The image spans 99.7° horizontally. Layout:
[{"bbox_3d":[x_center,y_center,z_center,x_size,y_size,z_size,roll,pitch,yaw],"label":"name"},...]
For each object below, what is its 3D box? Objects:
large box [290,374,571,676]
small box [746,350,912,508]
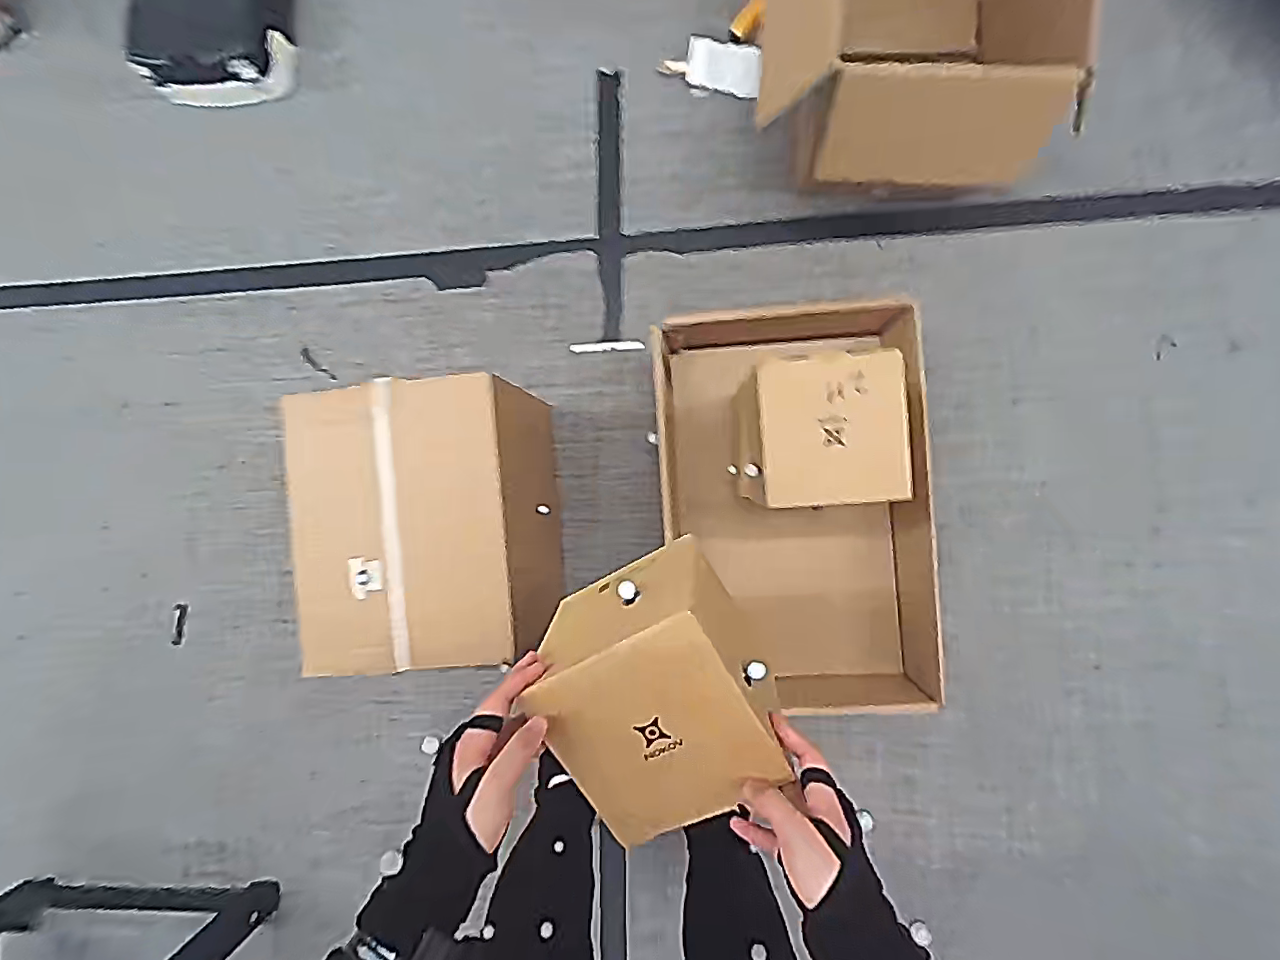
[{"bbox_3d":[-0.314,0.065,0.904,0.320,0.320,0.408,-6,89,6],"label":"large box"},{"bbox_3d":[0.234,-0.061,0.705,0.168,0.176,0.179,-4,90,4],"label":"small box"}]
